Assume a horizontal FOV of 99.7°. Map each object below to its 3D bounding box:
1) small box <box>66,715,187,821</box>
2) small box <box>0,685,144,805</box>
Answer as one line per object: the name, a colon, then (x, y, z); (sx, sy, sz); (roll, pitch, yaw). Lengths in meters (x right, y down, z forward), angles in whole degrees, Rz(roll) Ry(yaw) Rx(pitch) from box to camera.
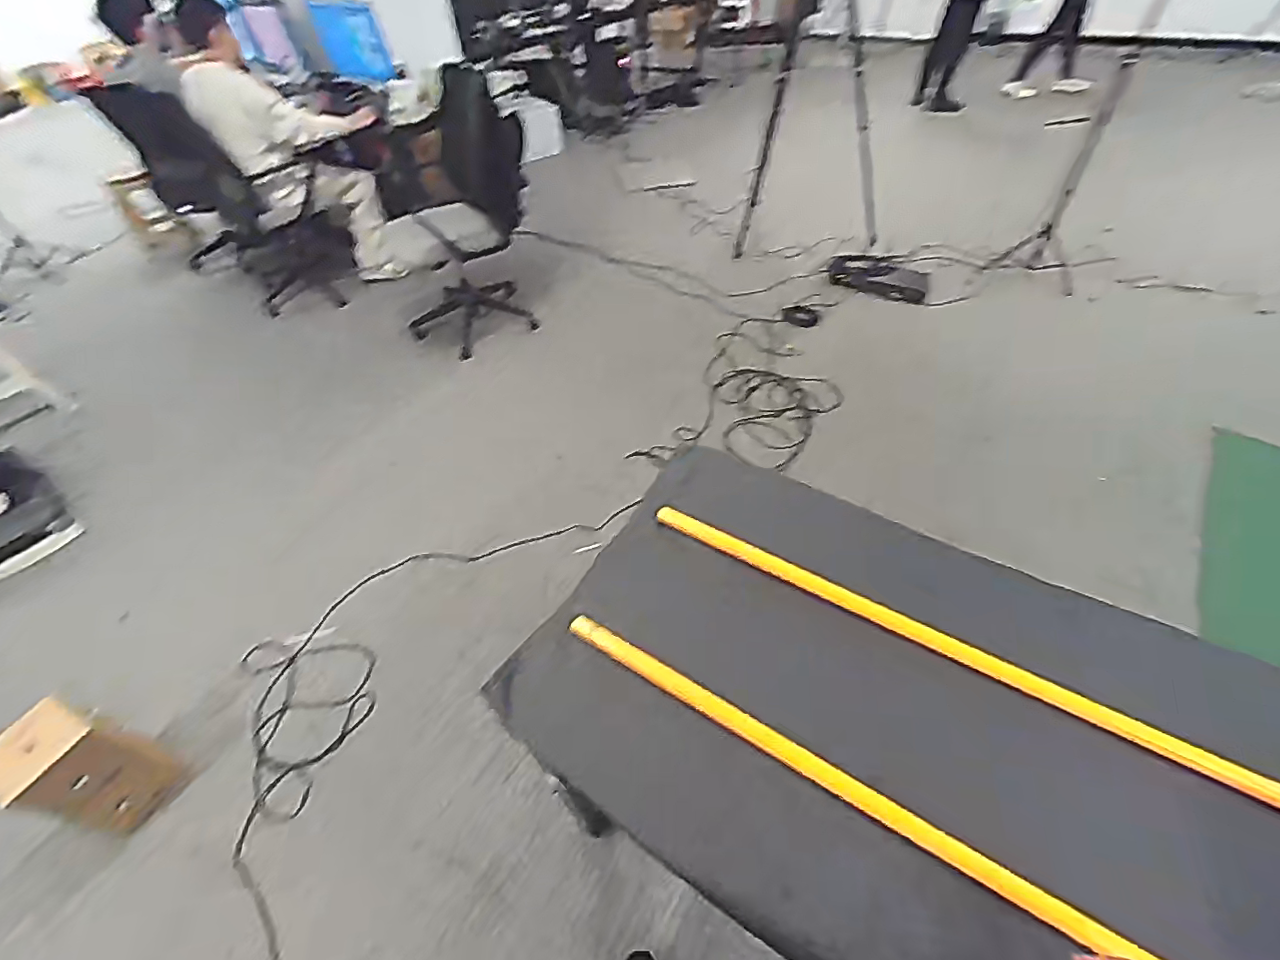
small box: (-1.286, 0.709, 1.334); (0.179, 0.176, 0.168); (21, 53, 22)
small box: (-1.286, 0.598, 1.211); (0.179, 0.176, 0.168); (20, 52, 21)
